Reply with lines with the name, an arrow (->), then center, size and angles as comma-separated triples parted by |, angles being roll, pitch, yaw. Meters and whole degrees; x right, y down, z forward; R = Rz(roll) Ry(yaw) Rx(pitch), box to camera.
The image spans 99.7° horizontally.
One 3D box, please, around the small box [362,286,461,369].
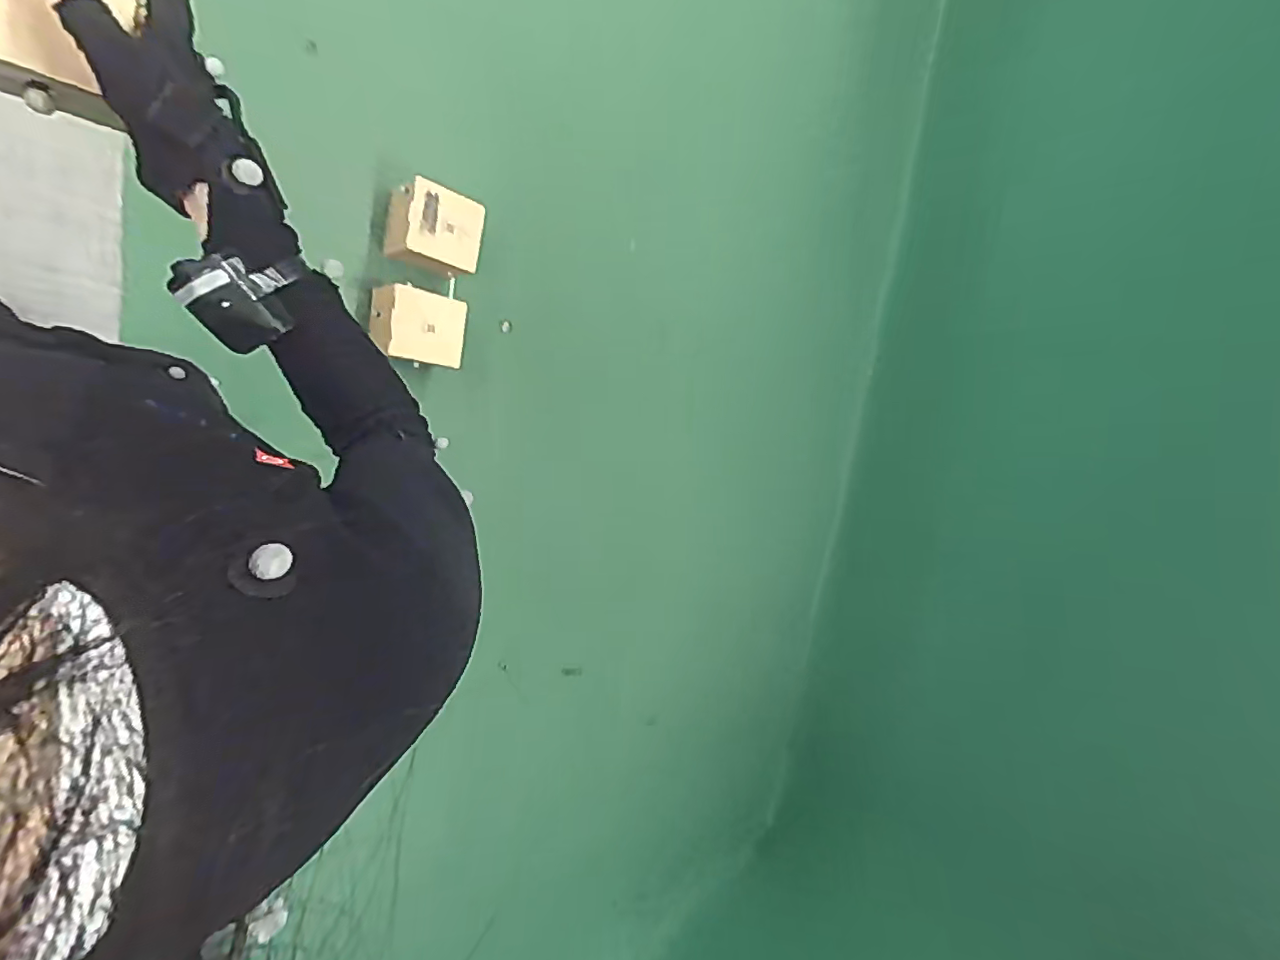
small box -> -0.581, -0.382, 1.370 | 0.179, 0.176, 0.168 | 4, 98, -43
